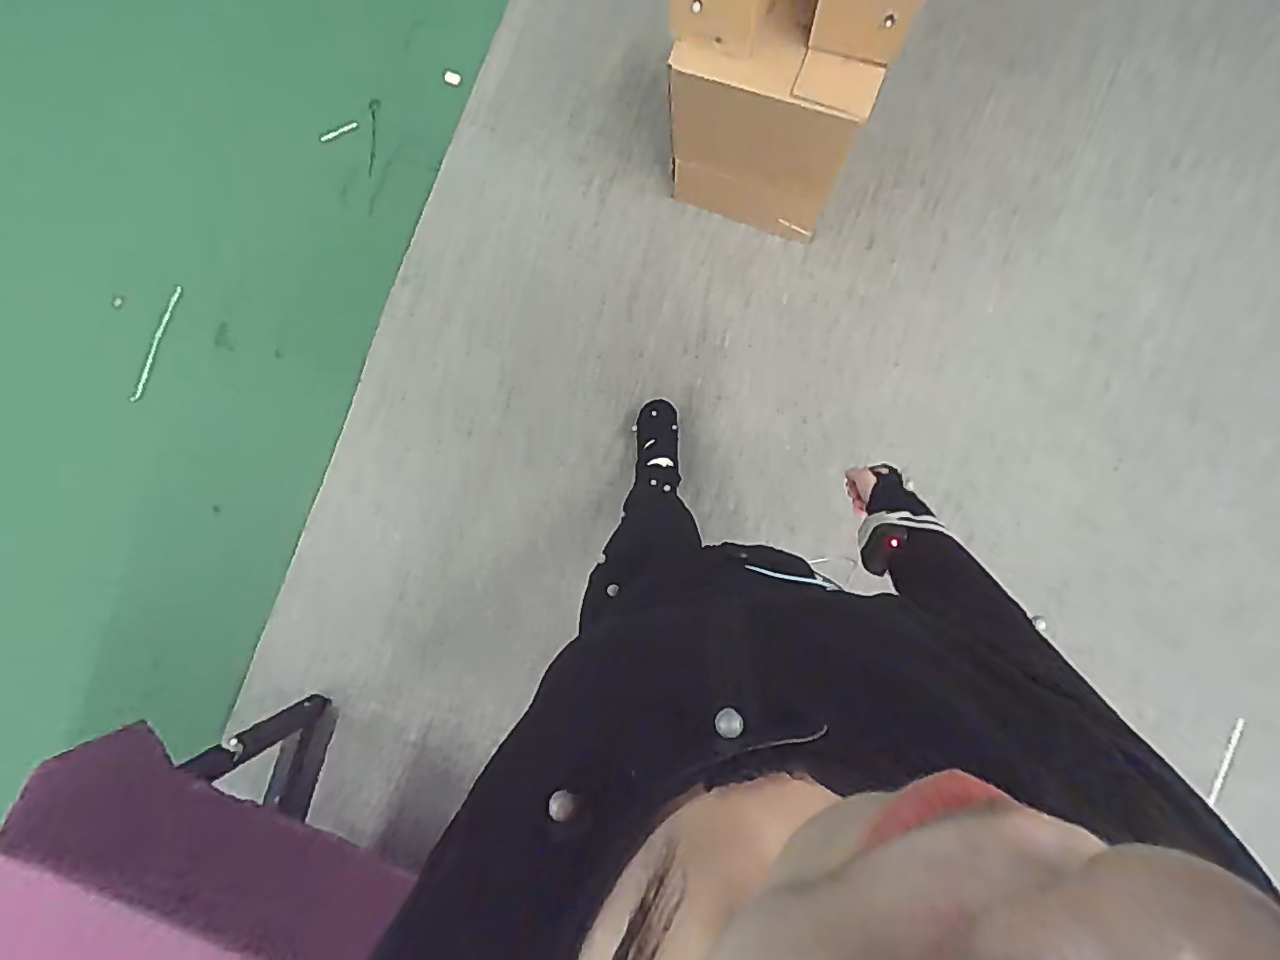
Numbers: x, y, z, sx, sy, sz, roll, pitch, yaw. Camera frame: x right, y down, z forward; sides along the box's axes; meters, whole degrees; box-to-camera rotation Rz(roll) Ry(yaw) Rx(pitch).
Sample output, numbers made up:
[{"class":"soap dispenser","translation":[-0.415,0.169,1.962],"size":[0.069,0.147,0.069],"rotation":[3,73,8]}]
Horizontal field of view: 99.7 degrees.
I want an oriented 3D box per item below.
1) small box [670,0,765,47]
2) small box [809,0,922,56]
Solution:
[{"class":"small box","translation":[0.155,-0.940,0.971],"size":[0.168,0.176,0.179],"rotation":[22,90,4]},{"class":"small box","translation":[0.421,-0.899,0.950],"size":[0.179,0.176,0.168],"rotation":[20,89,6]}]
